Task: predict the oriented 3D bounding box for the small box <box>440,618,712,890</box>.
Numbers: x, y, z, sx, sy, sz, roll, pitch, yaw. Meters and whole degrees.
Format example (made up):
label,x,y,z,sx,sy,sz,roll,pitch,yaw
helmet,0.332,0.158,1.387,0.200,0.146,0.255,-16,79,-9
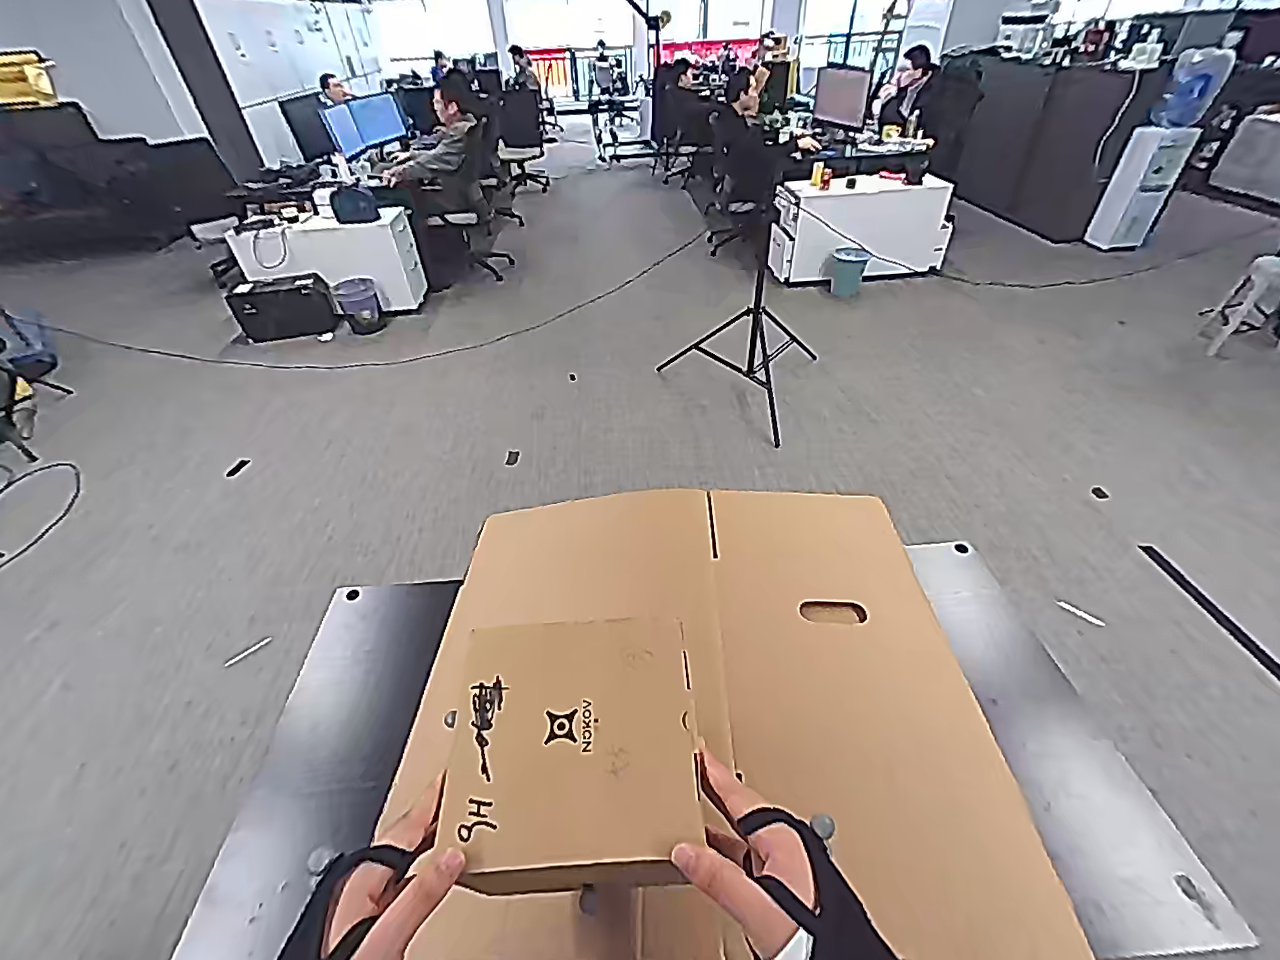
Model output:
label,x,y,z,sx,sy,sz,roll,pitch,yaw
small box,-0.044,0.232,0.455,0.179,0.176,0.168,-2,47,-2
